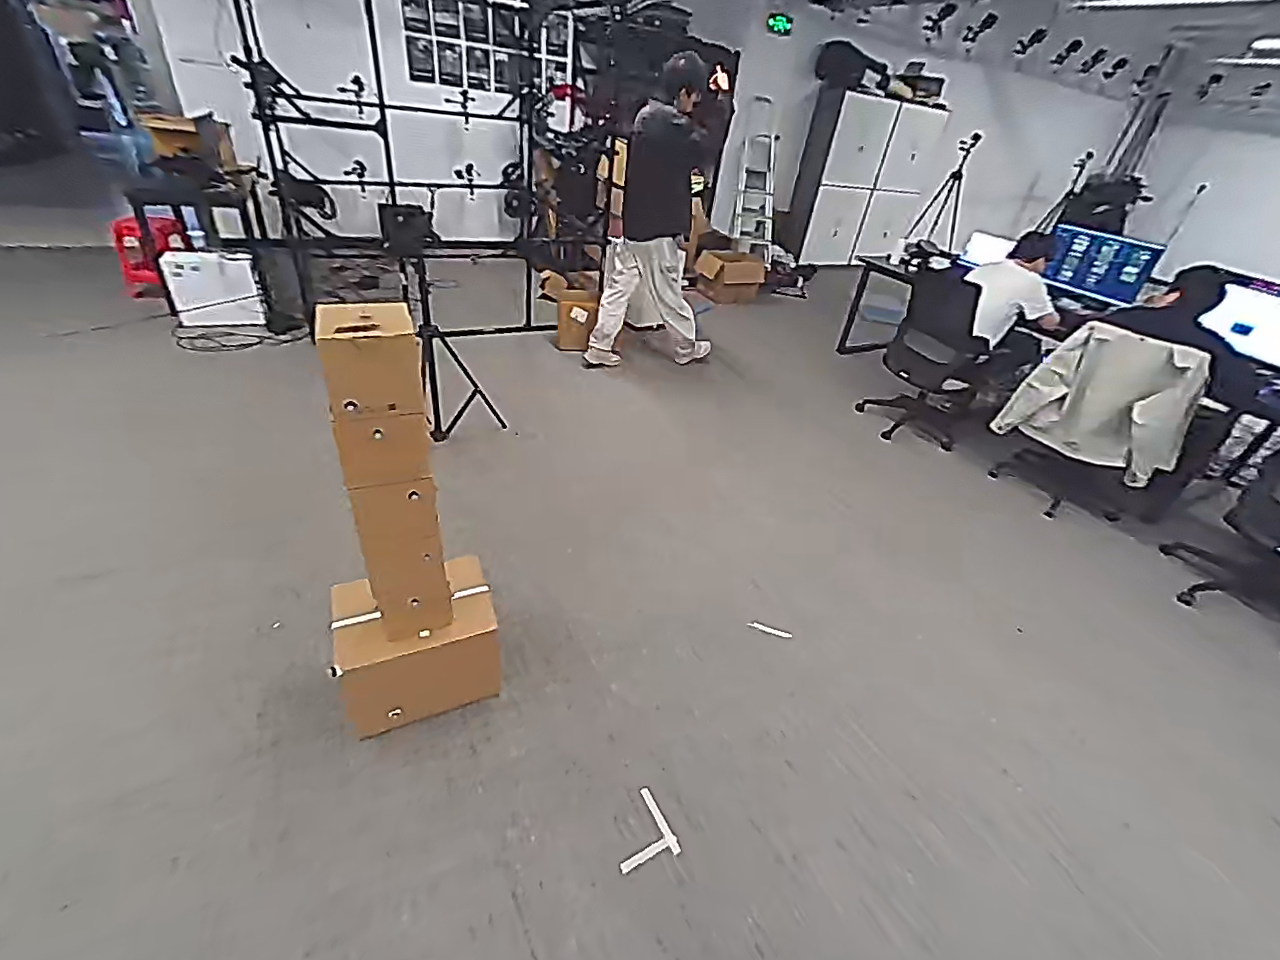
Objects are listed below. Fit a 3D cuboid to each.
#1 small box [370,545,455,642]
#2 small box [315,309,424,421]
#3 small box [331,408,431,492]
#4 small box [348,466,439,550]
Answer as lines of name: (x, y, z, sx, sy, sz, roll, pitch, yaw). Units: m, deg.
small box: (-0.609, 0.307, 1.453, 0.179, 0.176, 0.168, -12, 40, -27)
small box: (-0.535, -0.227, 1.081, 0.168, 0.176, 0.179, -10, 39, -23)
small box: (-0.556, -0.093, 1.173, 0.179, 0.176, 0.168, -10, 40, -23)
small box: (-0.574, 0.039, 1.265, 0.179, 0.176, 0.168, -10, 39, -24)
